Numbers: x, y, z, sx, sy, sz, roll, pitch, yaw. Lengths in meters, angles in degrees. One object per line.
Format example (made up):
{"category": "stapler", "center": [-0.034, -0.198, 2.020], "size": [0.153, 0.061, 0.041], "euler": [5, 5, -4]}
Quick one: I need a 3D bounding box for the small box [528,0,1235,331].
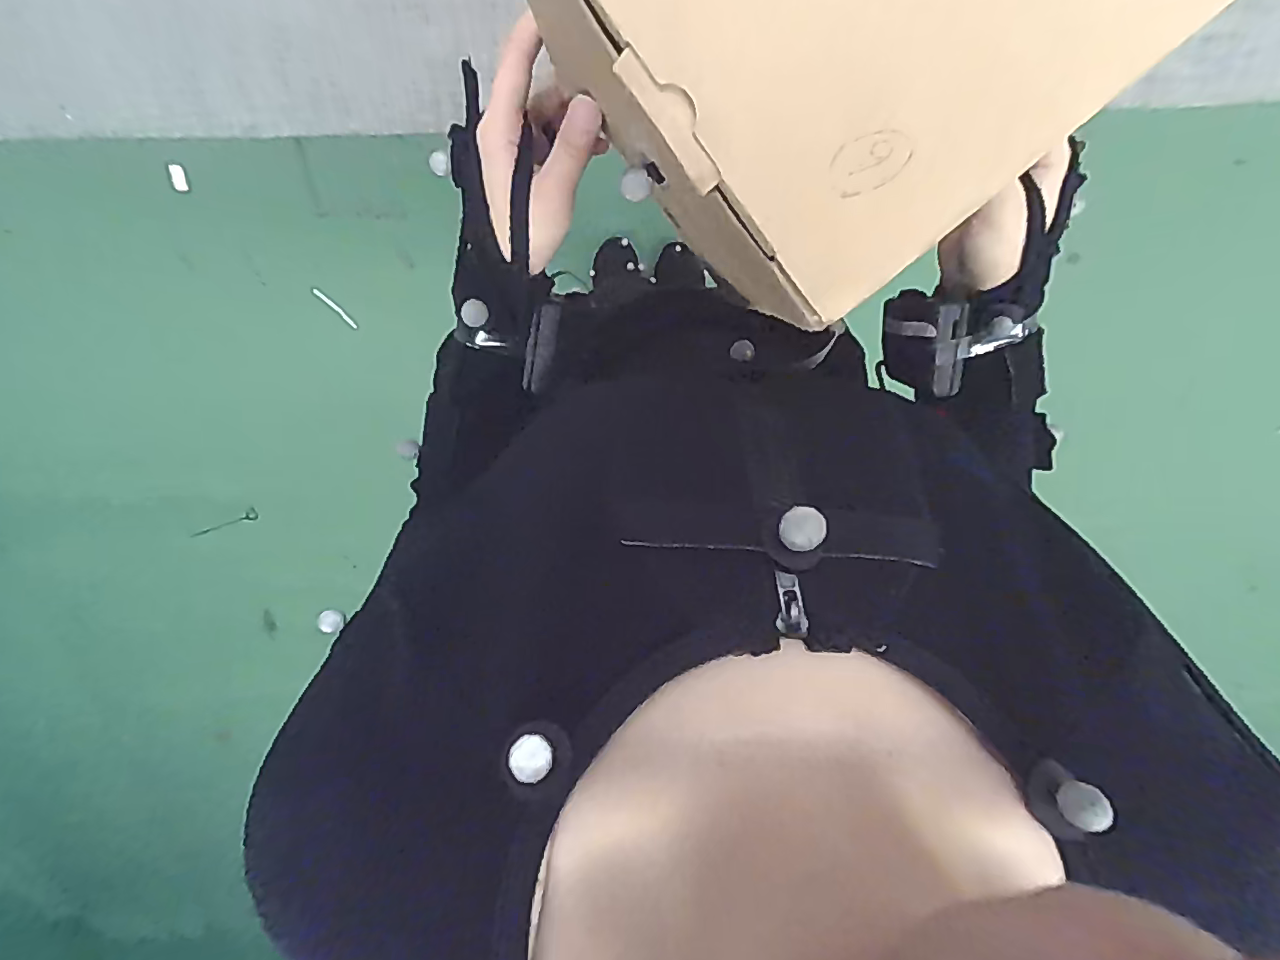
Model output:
{"category": "small box", "center": [0.069, -0.186, 0.221], "size": [0.179, 0.176, 0.168], "euler": [-38, 107, 13]}
